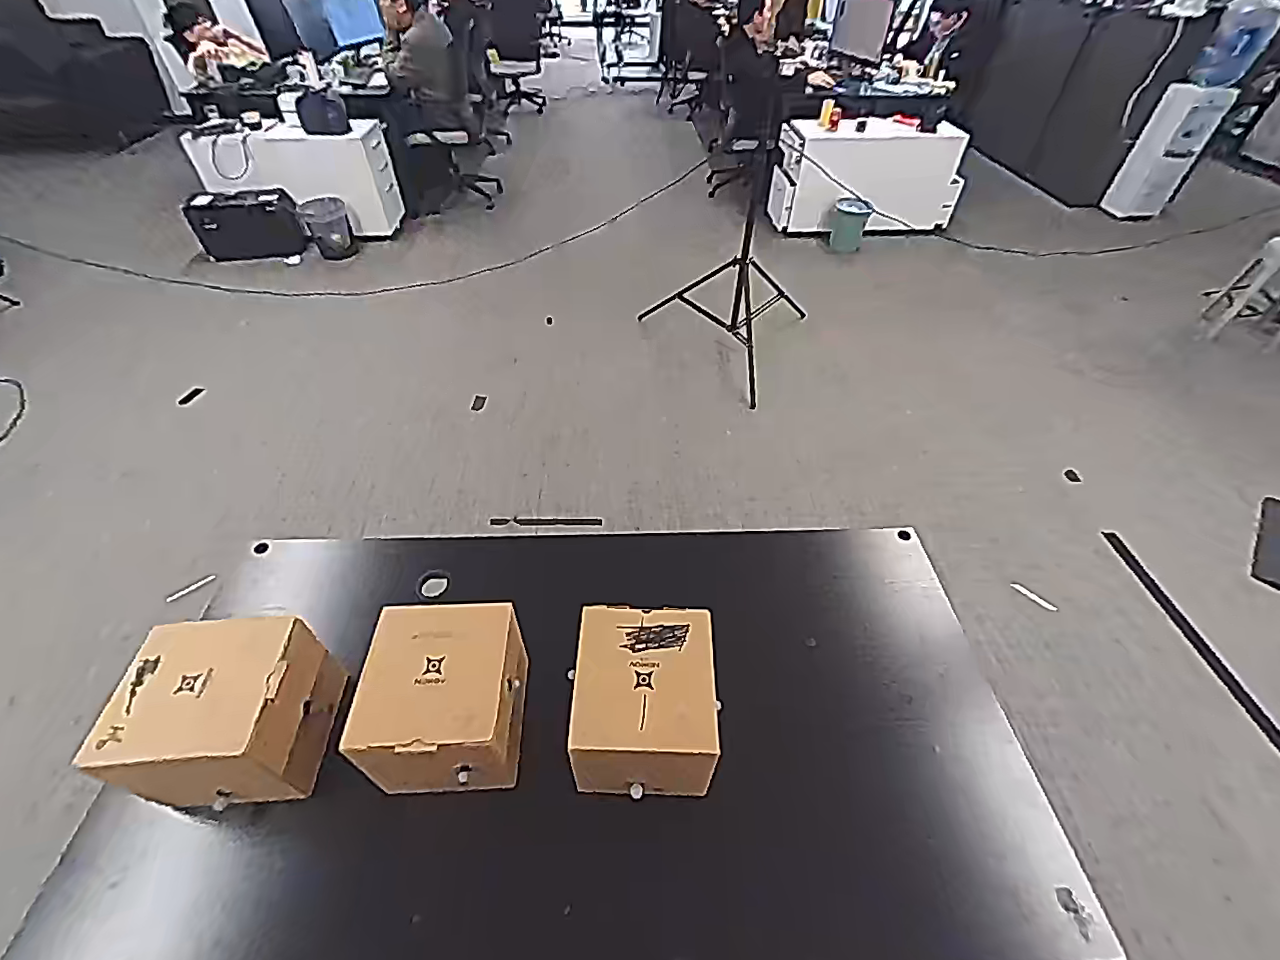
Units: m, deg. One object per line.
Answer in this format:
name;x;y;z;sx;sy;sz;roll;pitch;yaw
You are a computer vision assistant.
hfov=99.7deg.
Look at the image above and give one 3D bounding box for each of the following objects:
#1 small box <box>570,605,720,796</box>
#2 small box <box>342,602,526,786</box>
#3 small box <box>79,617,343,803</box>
small box;0.006;0.282;0.695;0.168;0.176;0.179;2;47;0
small box;-0.244;0.279;0.696;0.168;0.176;0.179;-1;45;-3
small box;-0.505;0.289;0.677;0.179;0.176;0.168;-2;46;-5
